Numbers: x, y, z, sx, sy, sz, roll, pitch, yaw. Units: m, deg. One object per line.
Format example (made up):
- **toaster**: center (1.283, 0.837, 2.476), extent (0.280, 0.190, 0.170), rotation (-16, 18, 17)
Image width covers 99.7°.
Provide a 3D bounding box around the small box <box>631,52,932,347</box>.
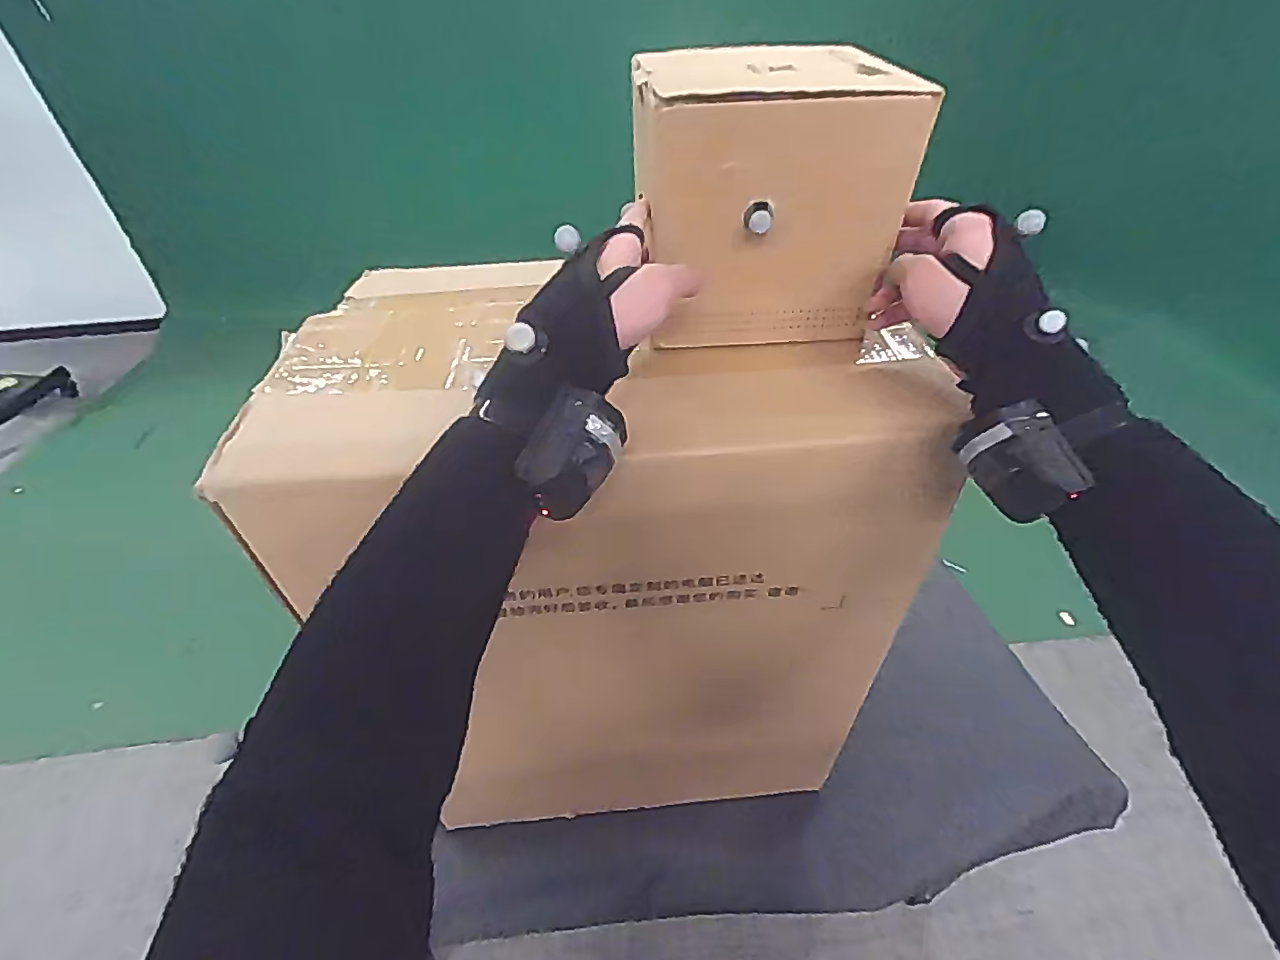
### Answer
- **small box**: center (0.088, -0.220, 0.432), extent (0.179, 0.176, 0.168), rotation (-4, 46, -2)
